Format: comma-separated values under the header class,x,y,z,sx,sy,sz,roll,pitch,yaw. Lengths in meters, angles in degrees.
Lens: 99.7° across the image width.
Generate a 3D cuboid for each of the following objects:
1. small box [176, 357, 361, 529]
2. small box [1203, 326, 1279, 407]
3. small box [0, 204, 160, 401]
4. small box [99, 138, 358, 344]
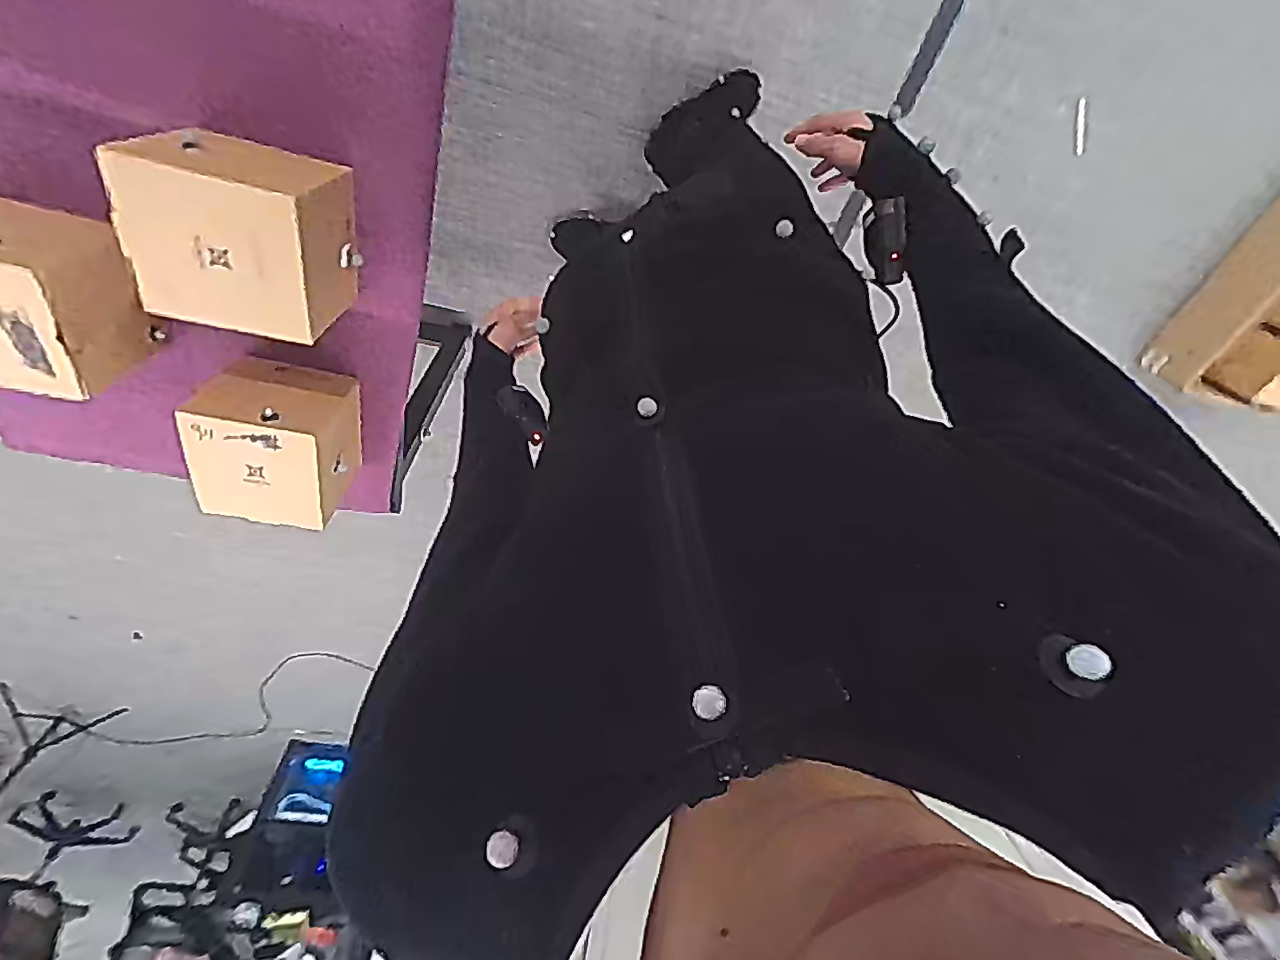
class,x,y,z,sx,sy,sz,roll,pitch,yaw
small box,-0.534,-0.056,0.809,0.168,0.176,0.179,11,127,-12
small box,1.854,-0.334,1.590,0.179,0.176,0.168,12,126,-9
small box,-0.748,-0.223,0.670,0.179,0.176,0.168,10,126,-11
small box,-0.457,-0.286,0.639,0.179,0.176,0.168,9,127,-12
